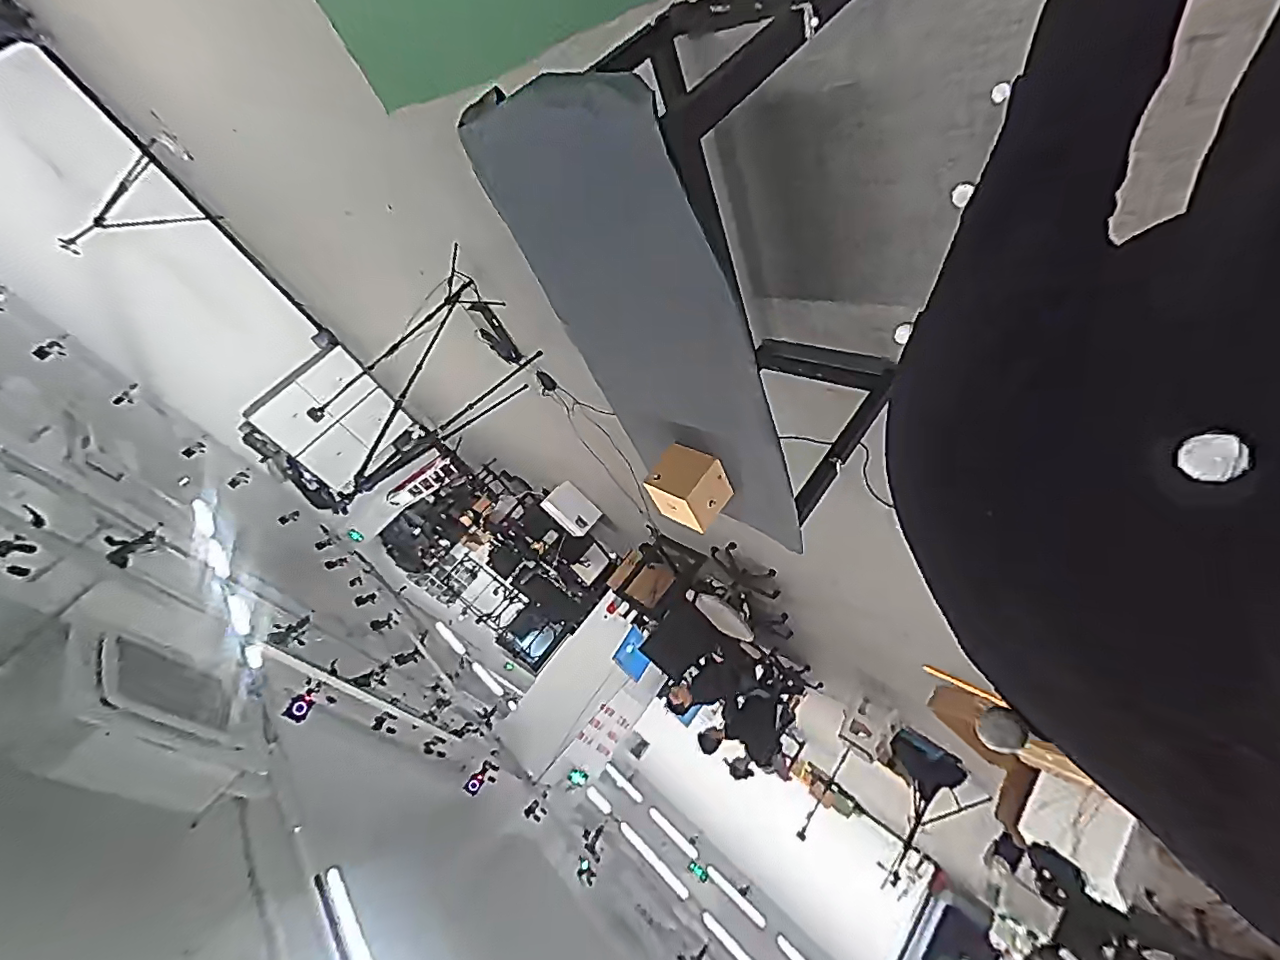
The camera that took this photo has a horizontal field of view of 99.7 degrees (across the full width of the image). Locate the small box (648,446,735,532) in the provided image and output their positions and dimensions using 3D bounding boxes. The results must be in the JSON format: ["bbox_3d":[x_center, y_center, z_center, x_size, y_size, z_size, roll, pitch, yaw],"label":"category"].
[{"bbox_3d":[0.162,0.021,1.612,0.179,0.176,0.168,24,156,43],"label":"small box"}]
